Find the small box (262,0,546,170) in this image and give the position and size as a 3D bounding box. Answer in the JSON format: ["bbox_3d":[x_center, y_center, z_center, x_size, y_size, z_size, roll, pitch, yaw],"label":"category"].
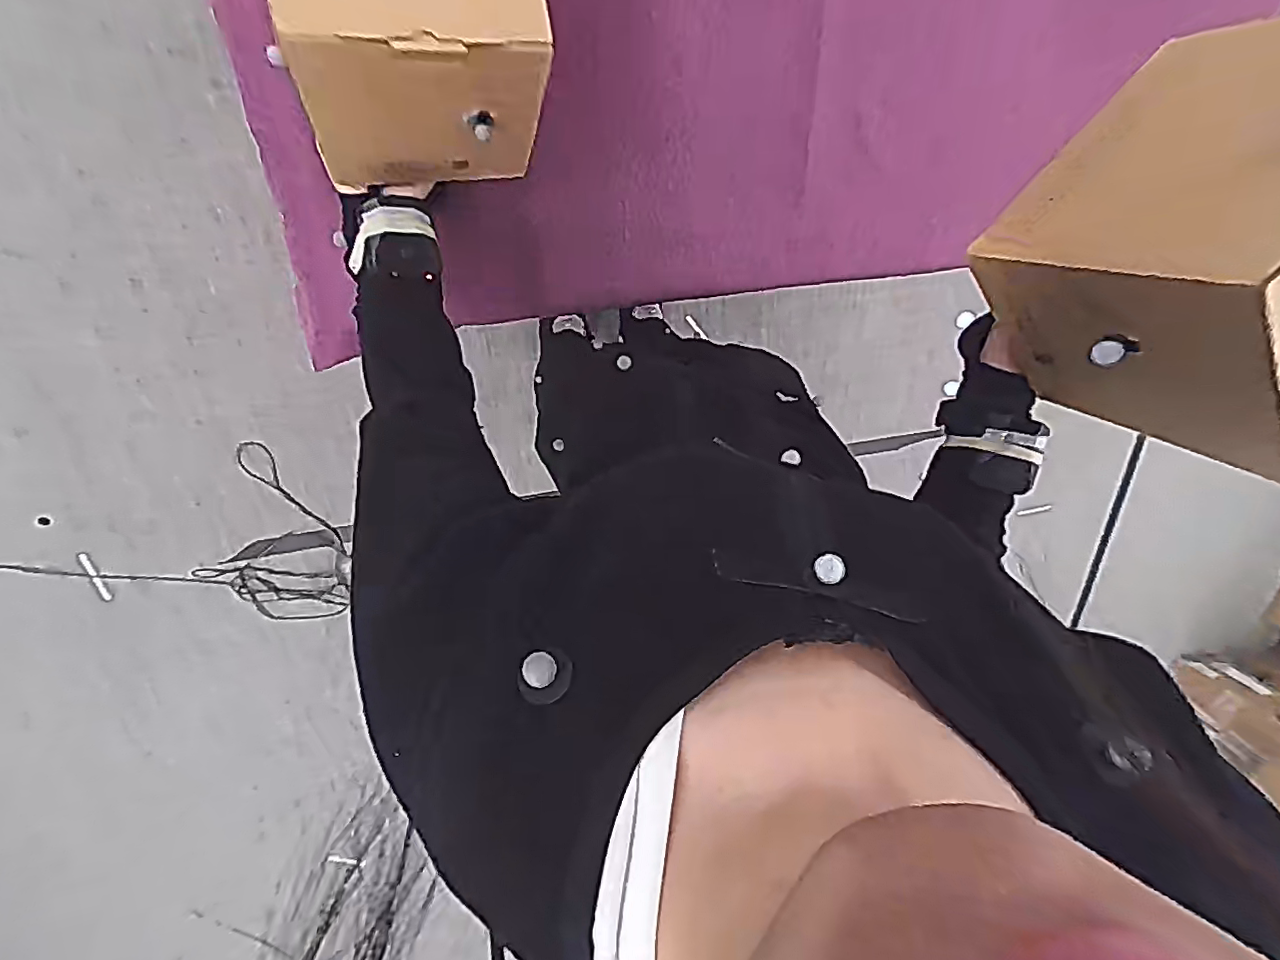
[{"bbox_3d":[-0.176,-0.355,0.402,0.168,0.176,0.179,-13,93,-18],"label":"small box"}]

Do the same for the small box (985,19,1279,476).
[{"bbox_3d":[0.351,-0.138,0.326,0.168,0.176,0.179,38,99,-29],"label":"small box"}]
